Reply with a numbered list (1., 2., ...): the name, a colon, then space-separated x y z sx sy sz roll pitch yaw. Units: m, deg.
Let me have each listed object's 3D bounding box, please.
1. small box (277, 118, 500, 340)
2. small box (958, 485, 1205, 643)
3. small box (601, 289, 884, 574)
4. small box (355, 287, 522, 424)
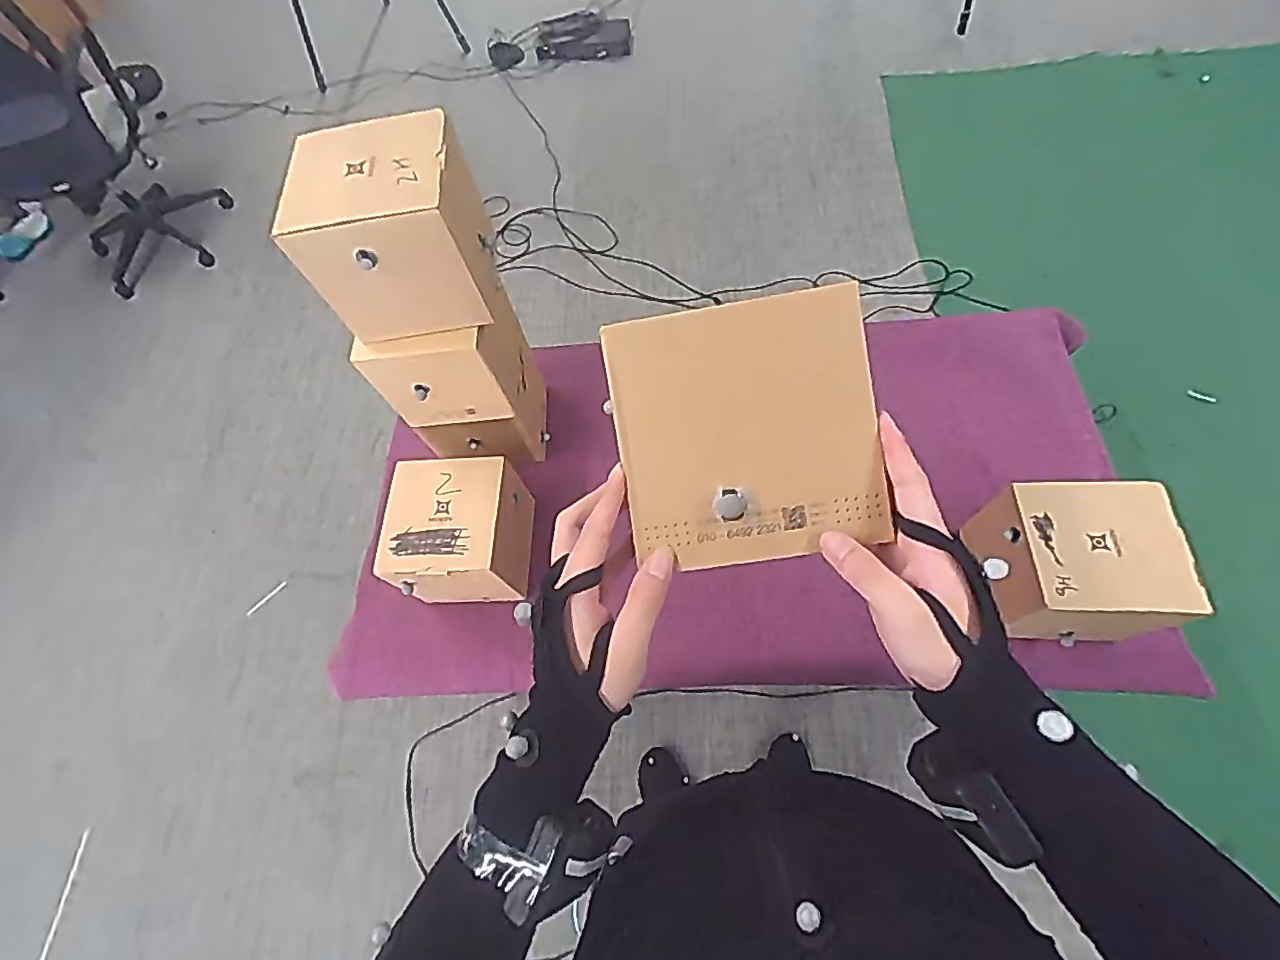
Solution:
1. small box: -0.281 -0.288 0.647 0.179 0.176 0.168 -8 64 2
2. small box: 0.564 0.118 0.722 0.179 0.176 0.168 1 63 7
3. small box: 0.072 -0.028 0.428 0.168 0.179 0.176 -9 91 4
4. small box: -0.276 -0.193 0.784 0.168 0.176 0.179 -5 64 4
